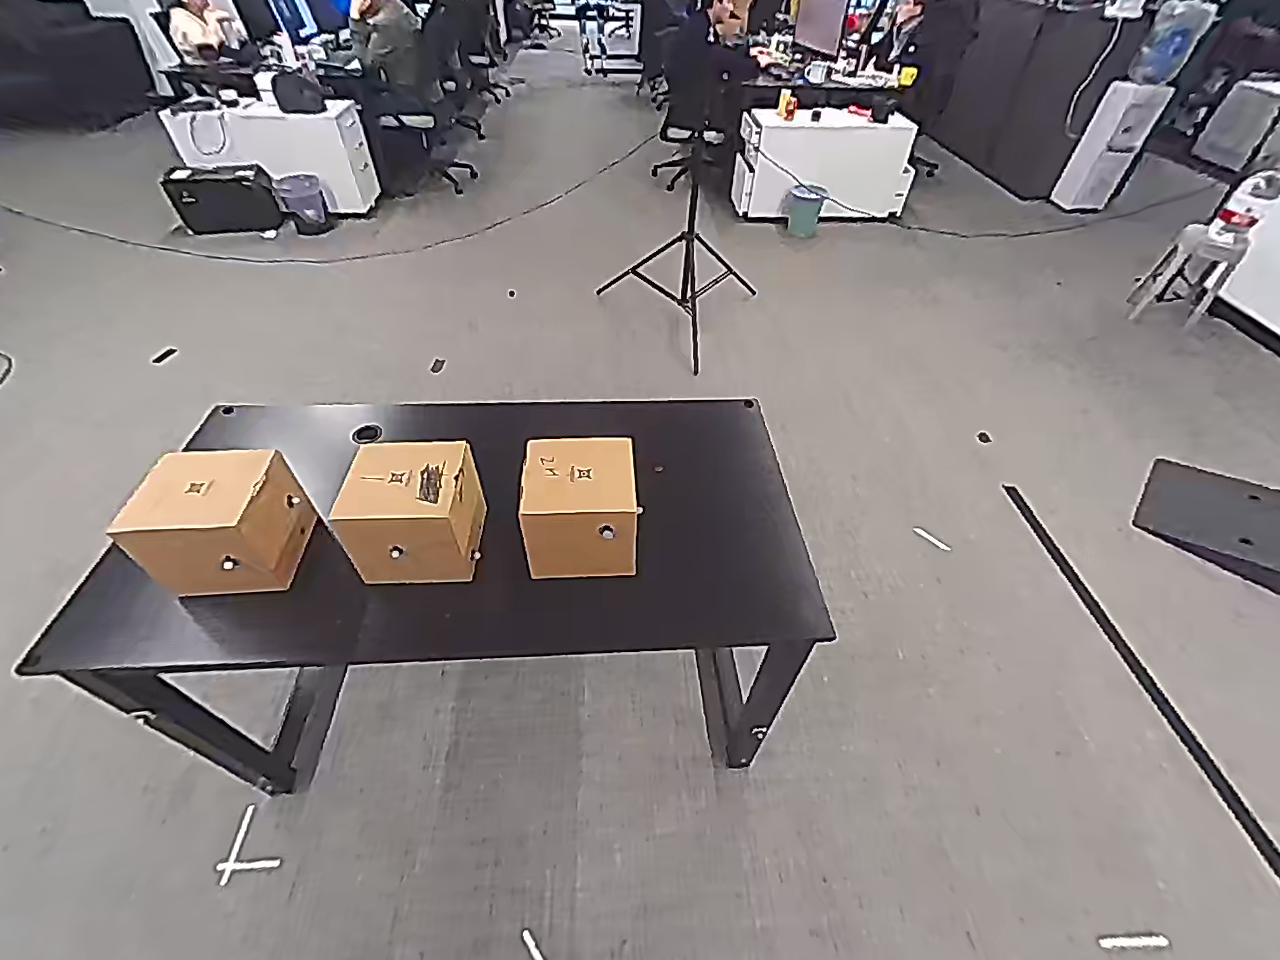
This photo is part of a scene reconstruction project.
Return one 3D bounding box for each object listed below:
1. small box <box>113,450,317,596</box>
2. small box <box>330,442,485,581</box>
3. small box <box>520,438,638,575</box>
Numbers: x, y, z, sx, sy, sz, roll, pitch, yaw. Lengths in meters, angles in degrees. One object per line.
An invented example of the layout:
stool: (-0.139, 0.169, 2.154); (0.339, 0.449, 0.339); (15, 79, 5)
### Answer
small box: (-0.660, 0.070, 0.873); (0.179, 0.176, 0.168); (-4, 46, -5)
small box: (-0.366, 0.054, 0.895); (0.179, 0.176, 0.168); (-2, 46, -2)
small box: (-0.096, 0.046, 0.910); (0.179, 0.176, 0.168); (-2, 46, -3)
